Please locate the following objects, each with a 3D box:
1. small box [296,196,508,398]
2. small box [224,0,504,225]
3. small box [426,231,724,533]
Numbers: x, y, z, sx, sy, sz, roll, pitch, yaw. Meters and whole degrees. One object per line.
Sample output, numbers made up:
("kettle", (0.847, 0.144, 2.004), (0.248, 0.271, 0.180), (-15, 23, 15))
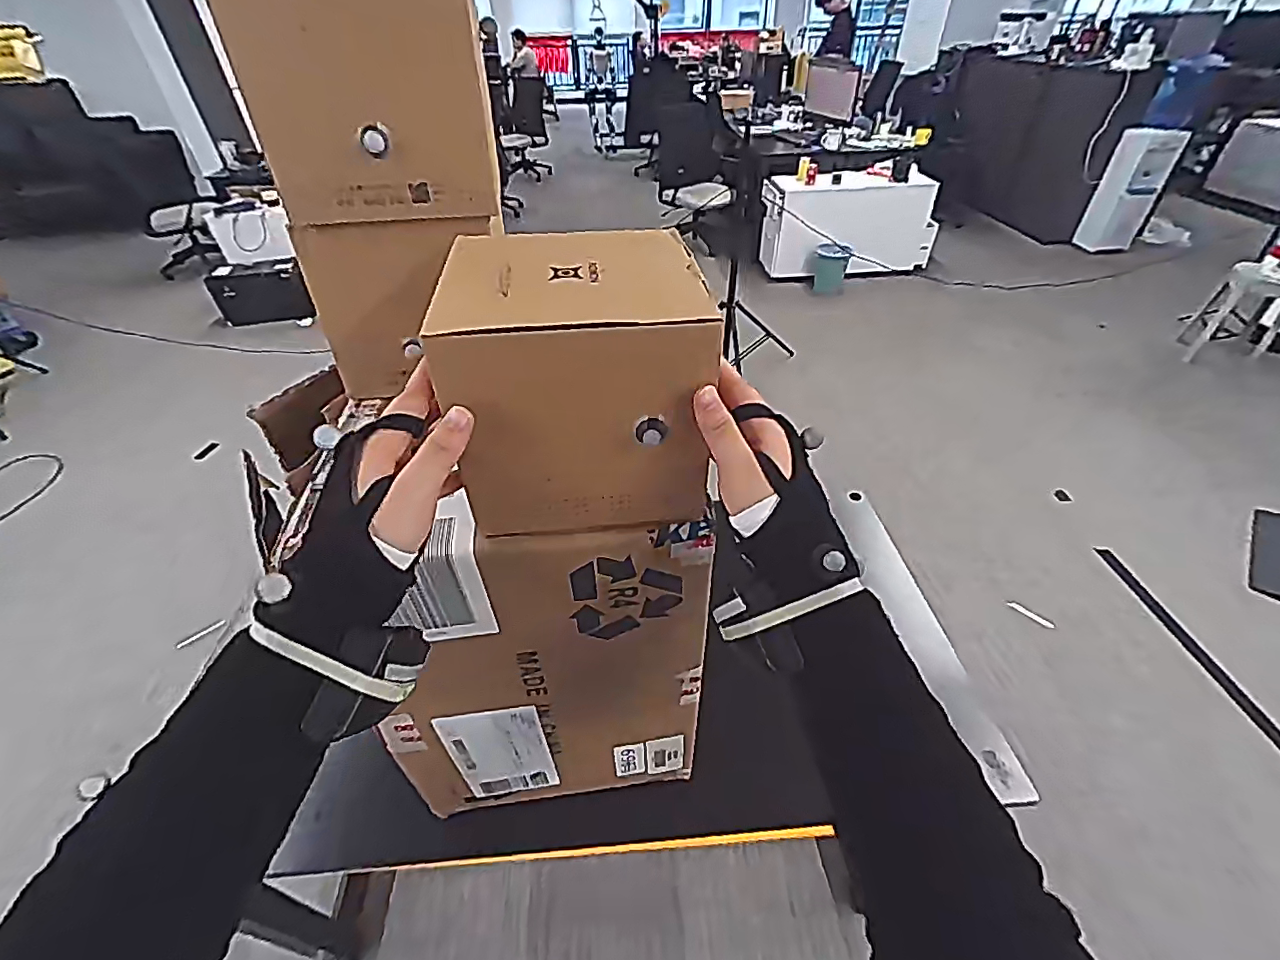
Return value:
("small box", (-0.222, -0.204, 0.574), (0.168, 0.176, 0.179), (-6, 40, -7))
("small box", (-0.214, -0.328, 0.464), (0.168, 0.176, 0.179), (-8, 40, -9))
("small box", (-0.044, -0.077, 0.424), (0.179, 0.176, 0.168), (-6, 42, -5))
